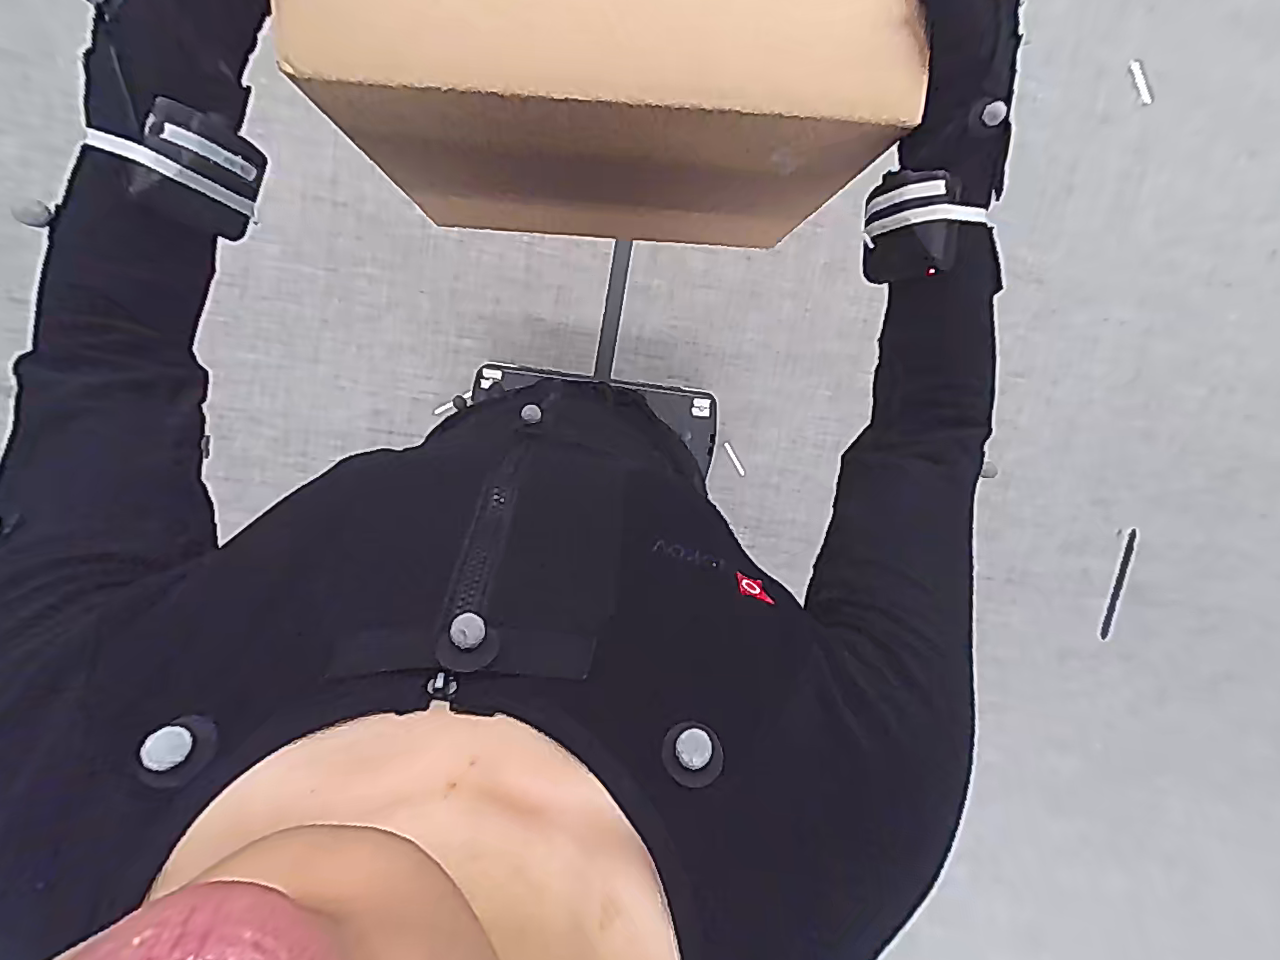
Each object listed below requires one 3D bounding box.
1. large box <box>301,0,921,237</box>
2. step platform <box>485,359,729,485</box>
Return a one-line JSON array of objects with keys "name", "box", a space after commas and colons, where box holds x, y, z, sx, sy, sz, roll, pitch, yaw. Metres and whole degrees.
[{"name": "large box", "box": [-0.021, -0.425, 0.476, 0.408, 0.320, 0.320, 1, 100, -5]}, {"name": "step platform", "box": [-0.091, -0.165, 1.552, 0.684, 0.204, 0.286, 6, 100, -5]}]
